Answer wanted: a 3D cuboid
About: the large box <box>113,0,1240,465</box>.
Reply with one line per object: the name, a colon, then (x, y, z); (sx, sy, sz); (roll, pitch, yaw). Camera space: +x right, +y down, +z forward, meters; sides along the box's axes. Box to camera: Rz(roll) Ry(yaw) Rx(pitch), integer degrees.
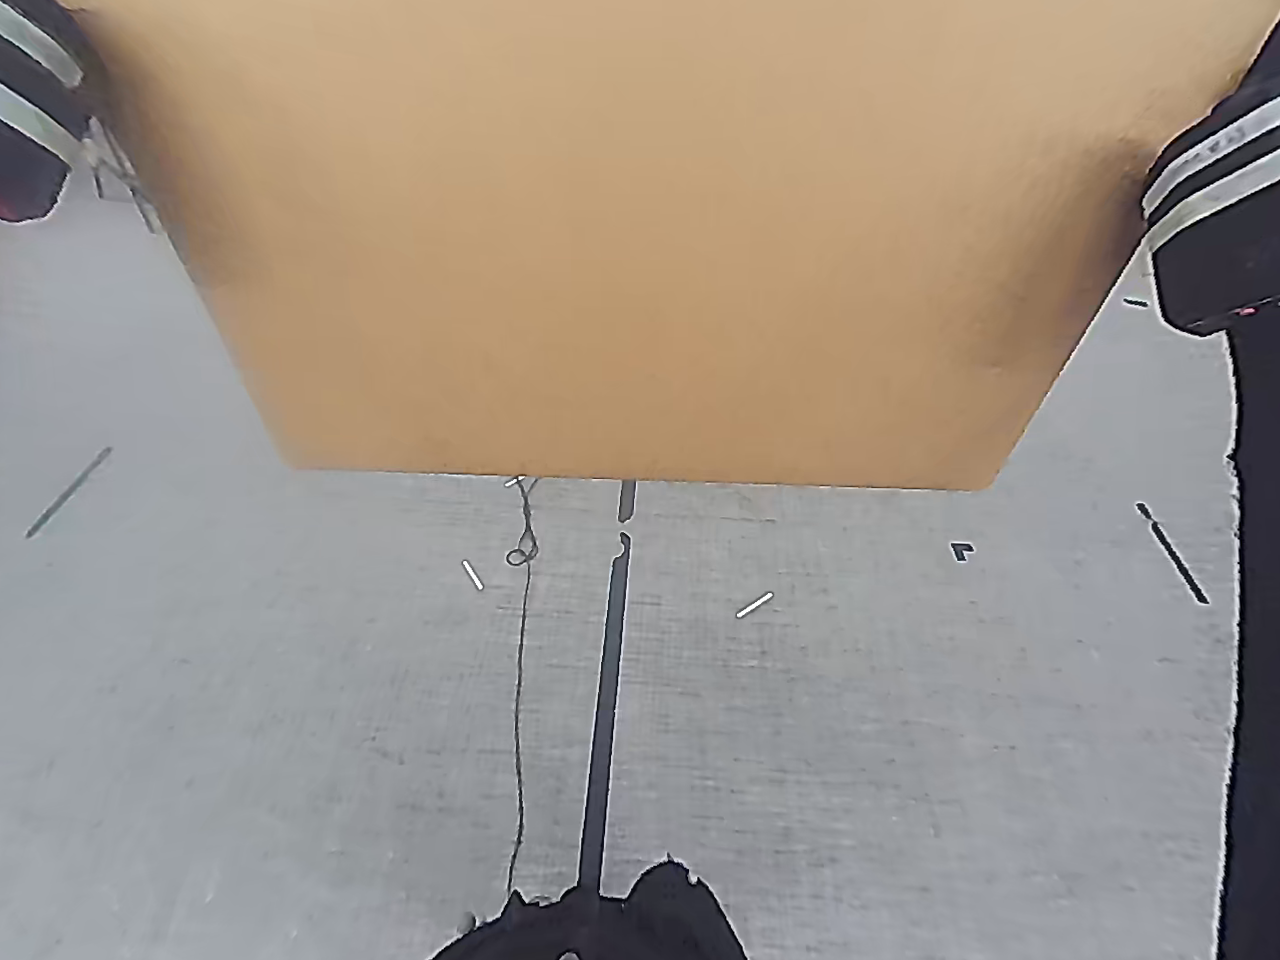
large box: (0.009, -0.223, 0.333); (0.408, 0.320, 0.320); (3, 41, -2)
